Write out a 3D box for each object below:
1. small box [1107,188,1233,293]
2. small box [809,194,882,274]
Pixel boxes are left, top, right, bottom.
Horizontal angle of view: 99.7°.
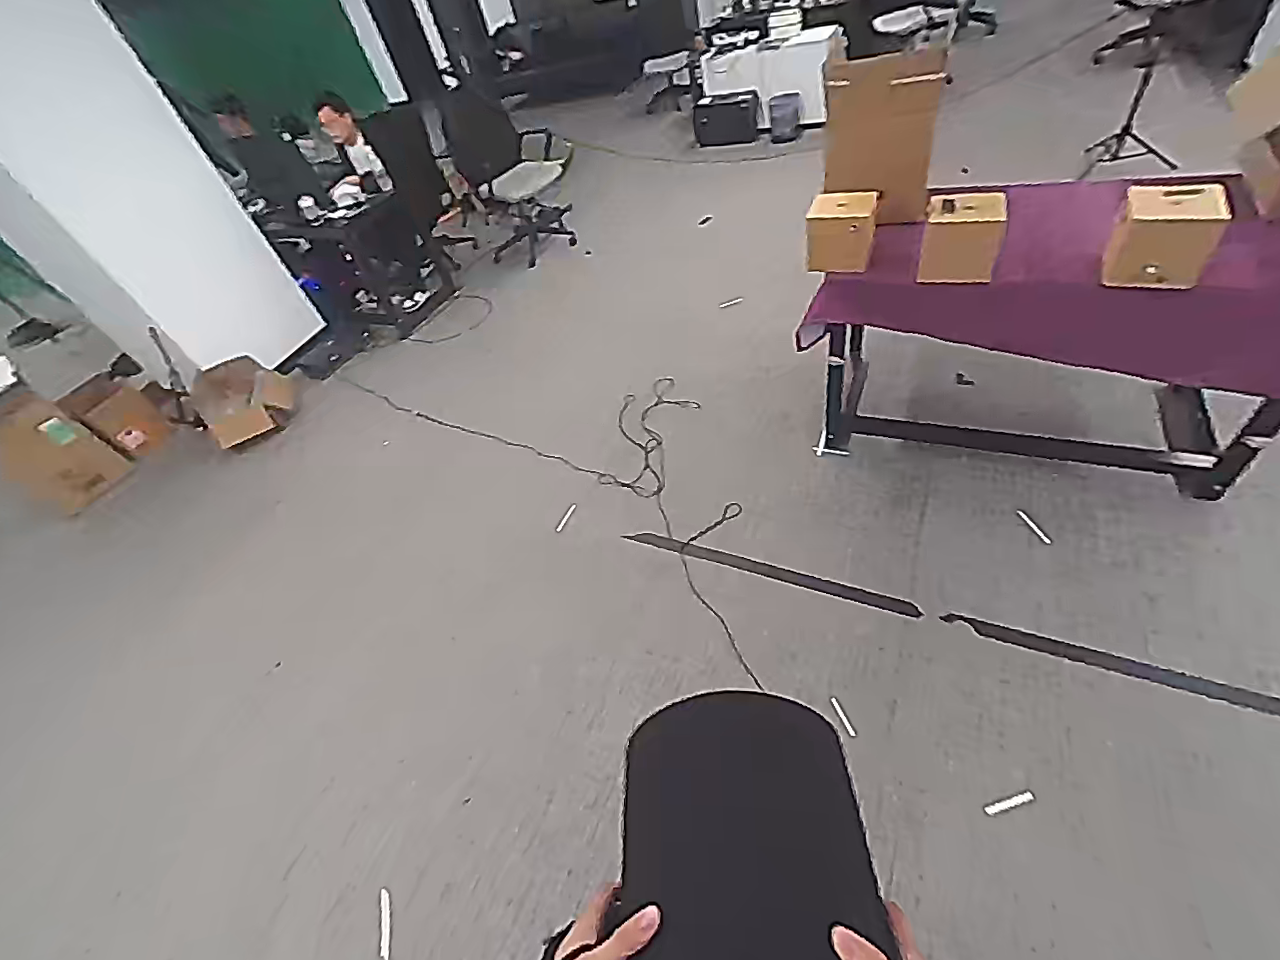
[{"bbox_3d":[1.244,-0.570,1.284,0.168,0.176,0.179,14,54,28],"label":"small box"},{"bbox_3d":[0.611,-0.735,1.623,0.179,0.176,0.168,11,52,24],"label":"small box"}]
